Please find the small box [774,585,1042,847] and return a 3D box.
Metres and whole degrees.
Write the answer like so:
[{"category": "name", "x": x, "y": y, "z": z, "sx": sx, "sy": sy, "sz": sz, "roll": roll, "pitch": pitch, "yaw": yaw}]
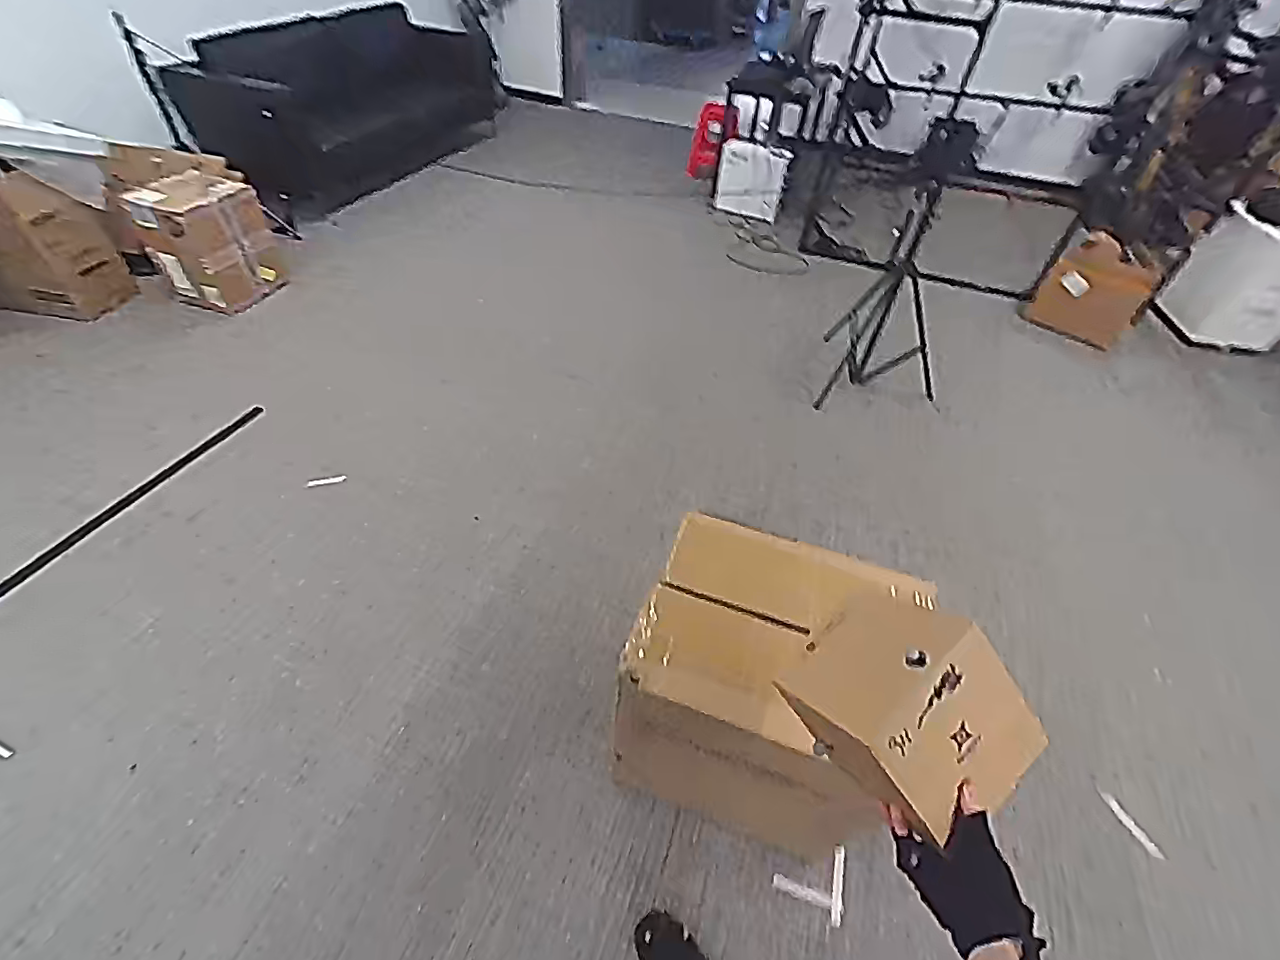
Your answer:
[{"category": "small box", "x": 0.289, "y": 0.244, "z": 0.607, "sx": 0.168, "sy": 0.176, "sz": 0.179, "roll": -40, "pitch": 104, "yaw": -14}]
